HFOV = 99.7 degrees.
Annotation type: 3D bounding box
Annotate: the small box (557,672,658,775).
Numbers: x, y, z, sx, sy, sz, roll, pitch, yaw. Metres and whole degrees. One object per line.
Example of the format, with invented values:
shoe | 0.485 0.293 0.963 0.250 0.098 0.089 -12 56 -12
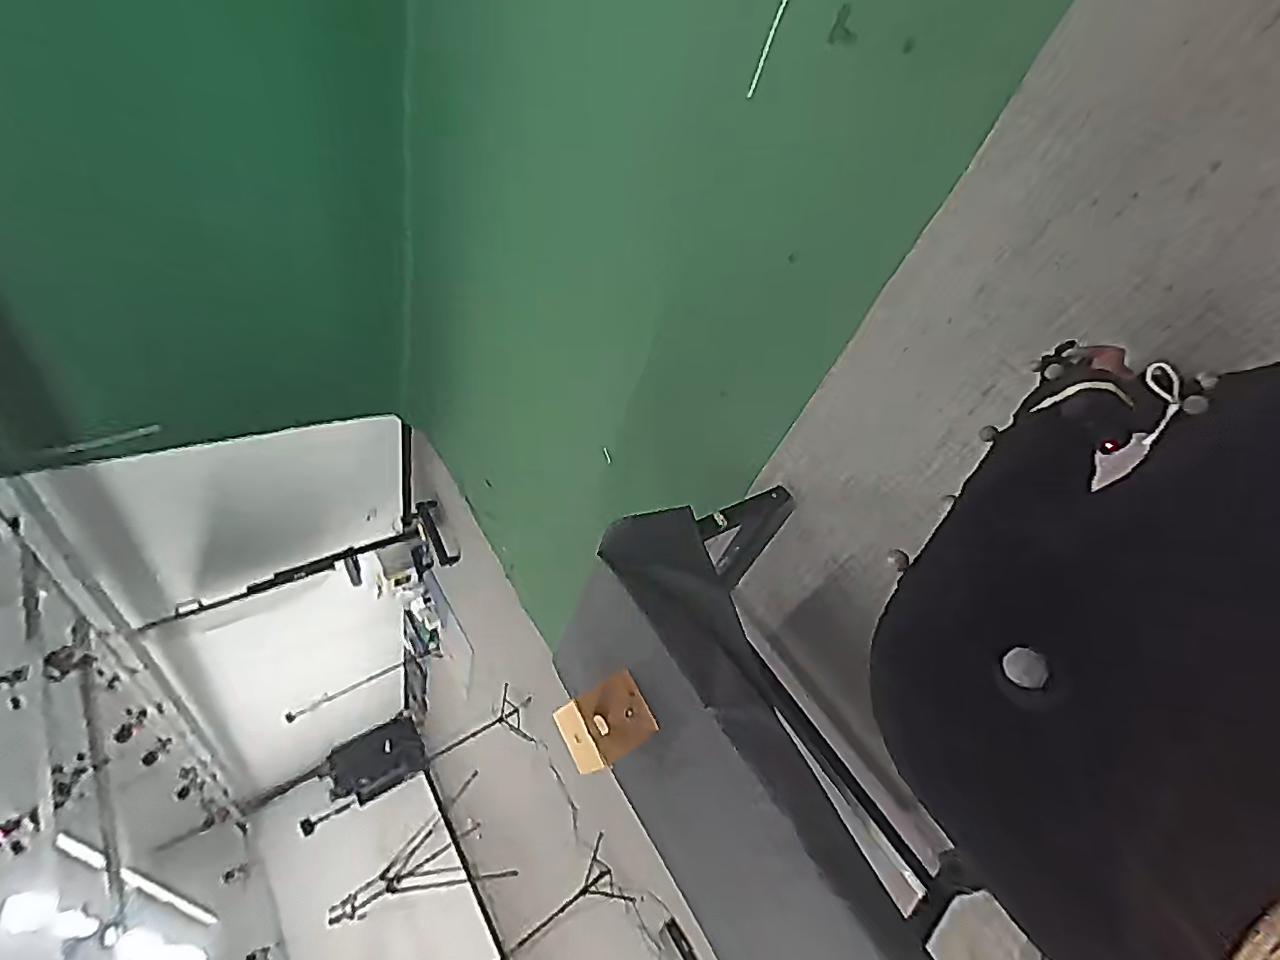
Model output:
small box | -0.082 0.609 1.358 0.168 0.176 0.179 59 142 19
